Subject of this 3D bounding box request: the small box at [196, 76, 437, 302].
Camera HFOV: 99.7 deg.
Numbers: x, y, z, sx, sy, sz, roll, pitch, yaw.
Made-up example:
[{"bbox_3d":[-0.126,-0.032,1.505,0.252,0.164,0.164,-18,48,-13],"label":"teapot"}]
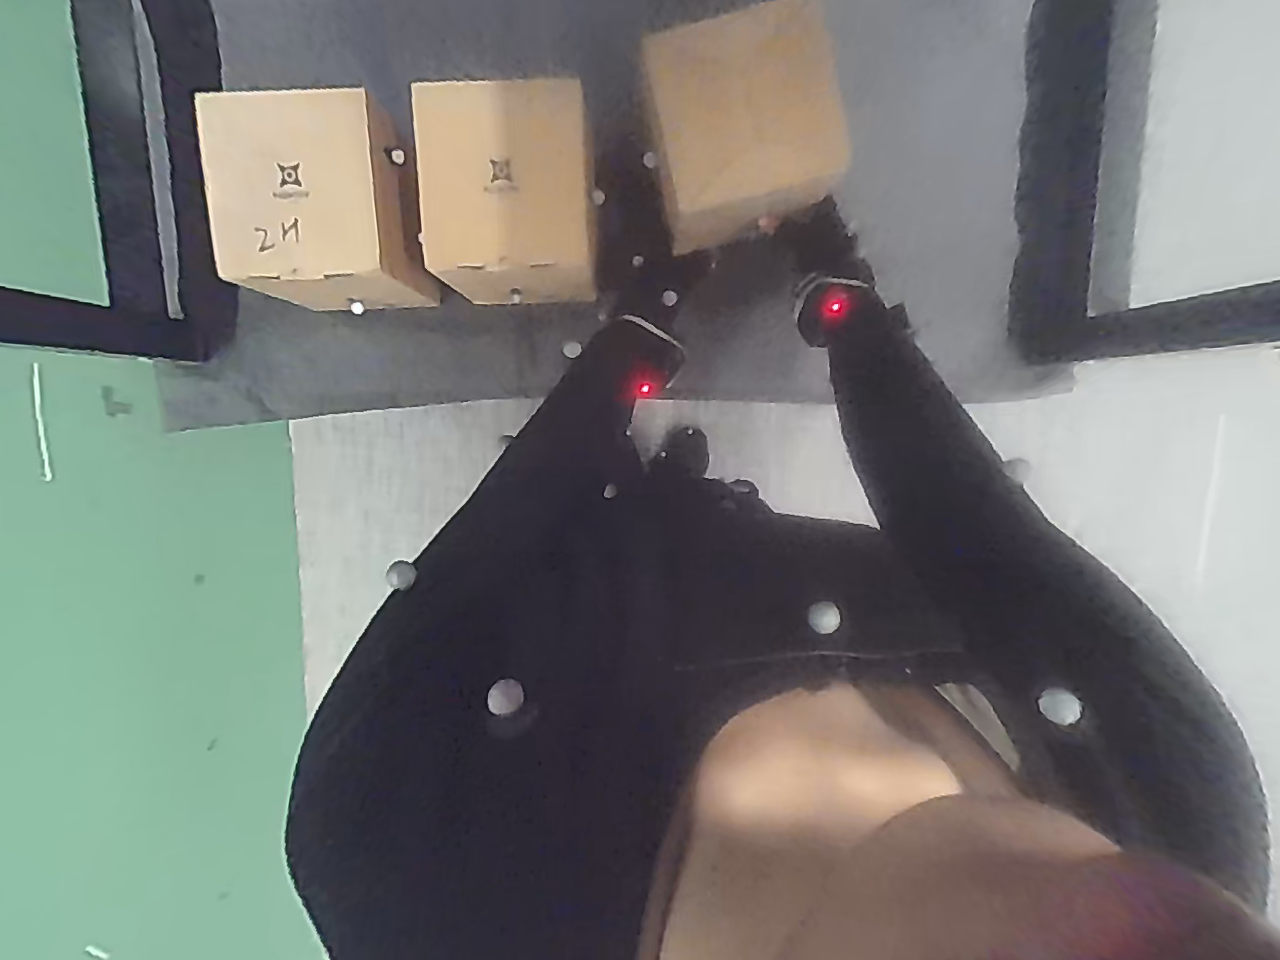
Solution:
[{"bbox_3d":[-0.342,-0.308,0.606,0.168,0.176,0.179,-2,97,0],"label":"small box"}]
